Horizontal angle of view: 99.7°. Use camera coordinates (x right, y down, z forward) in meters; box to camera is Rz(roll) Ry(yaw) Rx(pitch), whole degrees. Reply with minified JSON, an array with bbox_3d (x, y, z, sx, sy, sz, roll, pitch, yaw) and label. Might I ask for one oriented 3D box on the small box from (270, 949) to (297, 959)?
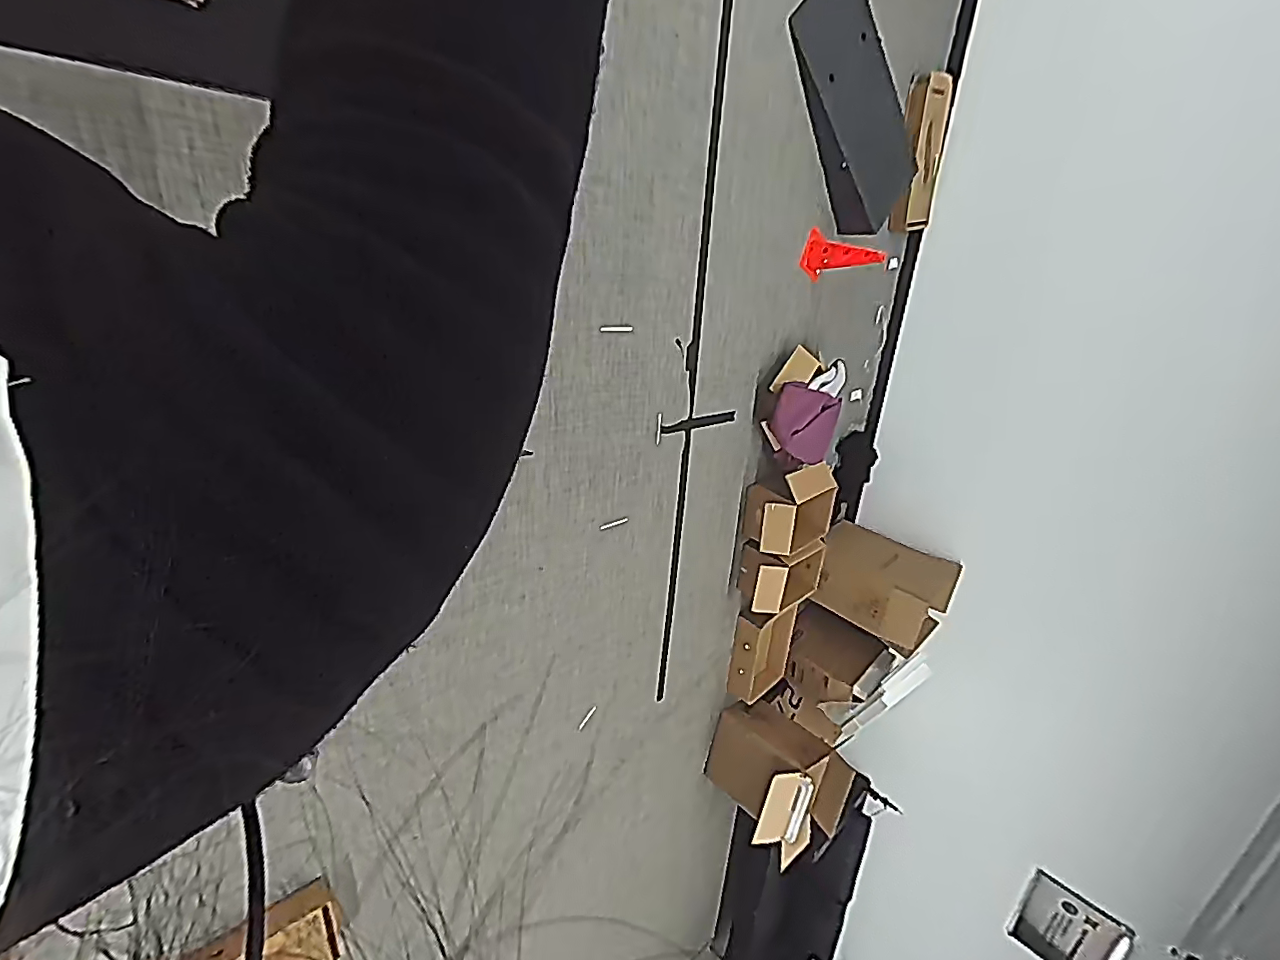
[{"bbox_3d":[-1.102,1.571,1.619,0.168,0.176,0.179,-19,121,-40],"label":"small box"}]
